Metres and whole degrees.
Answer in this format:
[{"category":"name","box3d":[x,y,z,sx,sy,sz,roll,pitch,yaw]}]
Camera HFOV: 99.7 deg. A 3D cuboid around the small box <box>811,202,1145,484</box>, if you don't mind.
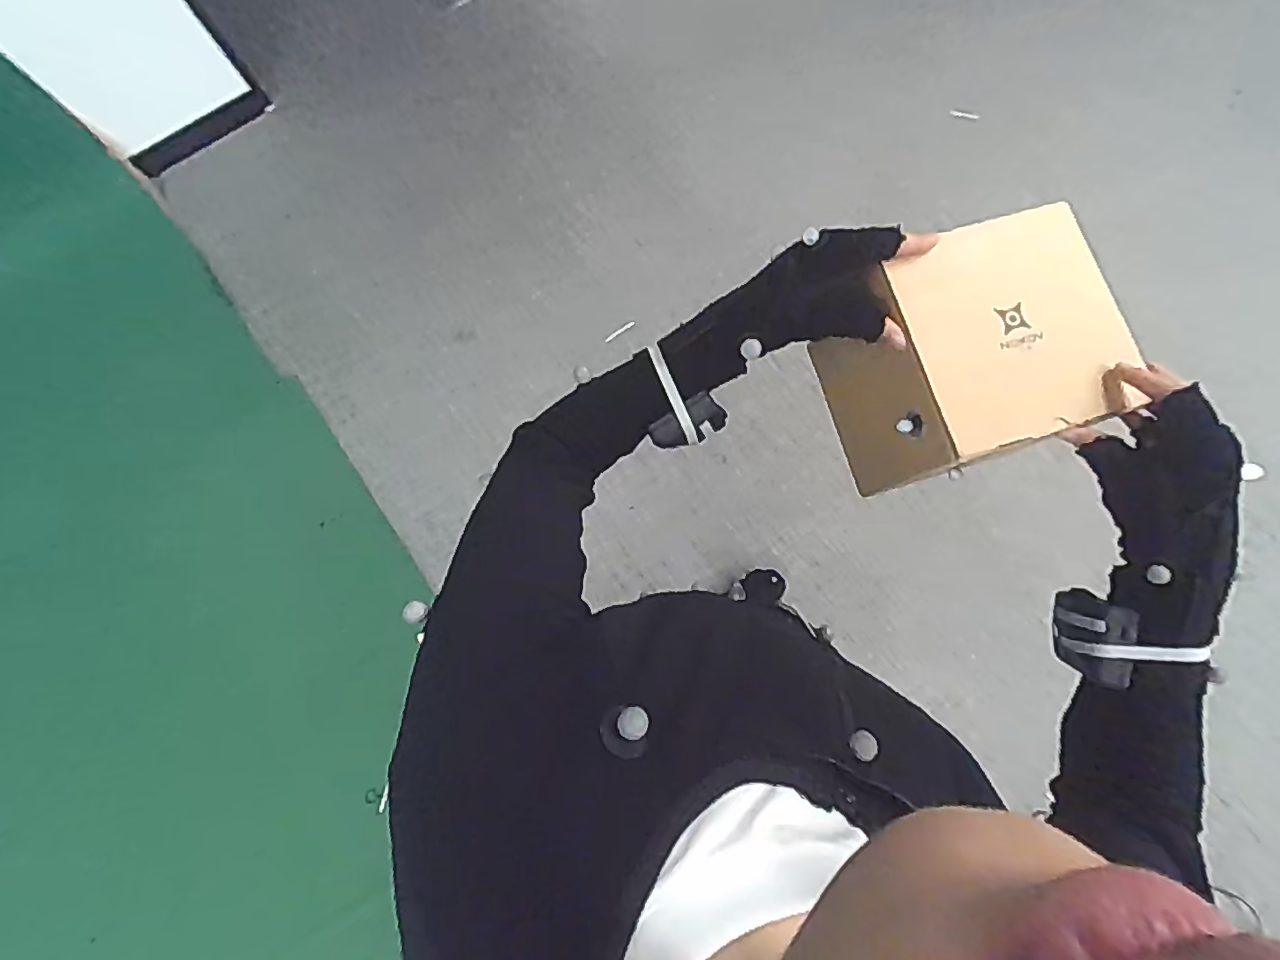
[{"category":"small box","box3d":[0.280,-0.110,0.495,0.168,0.176,0.179,-15,81,-5]}]
